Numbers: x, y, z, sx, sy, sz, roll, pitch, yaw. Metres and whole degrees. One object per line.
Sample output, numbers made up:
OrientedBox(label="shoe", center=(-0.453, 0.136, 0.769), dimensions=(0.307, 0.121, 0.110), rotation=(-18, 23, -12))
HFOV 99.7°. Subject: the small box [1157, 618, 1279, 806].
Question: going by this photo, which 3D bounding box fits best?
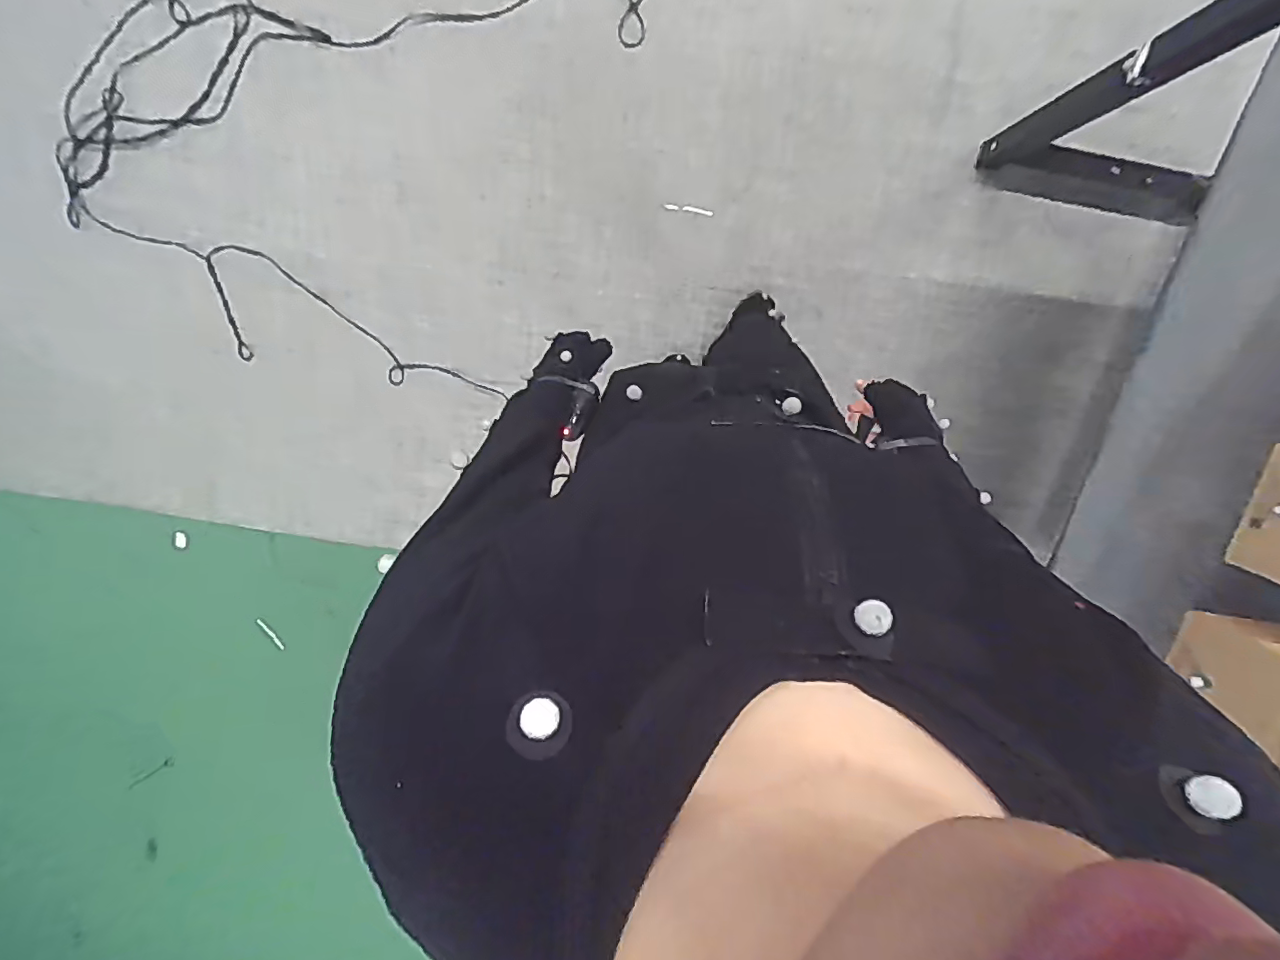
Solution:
OrientedBox(label="small box", center=(0.836, 0.293, 0.682), dimensions=(0.179, 0.176, 0.168), rotation=(9, 103, 0))
